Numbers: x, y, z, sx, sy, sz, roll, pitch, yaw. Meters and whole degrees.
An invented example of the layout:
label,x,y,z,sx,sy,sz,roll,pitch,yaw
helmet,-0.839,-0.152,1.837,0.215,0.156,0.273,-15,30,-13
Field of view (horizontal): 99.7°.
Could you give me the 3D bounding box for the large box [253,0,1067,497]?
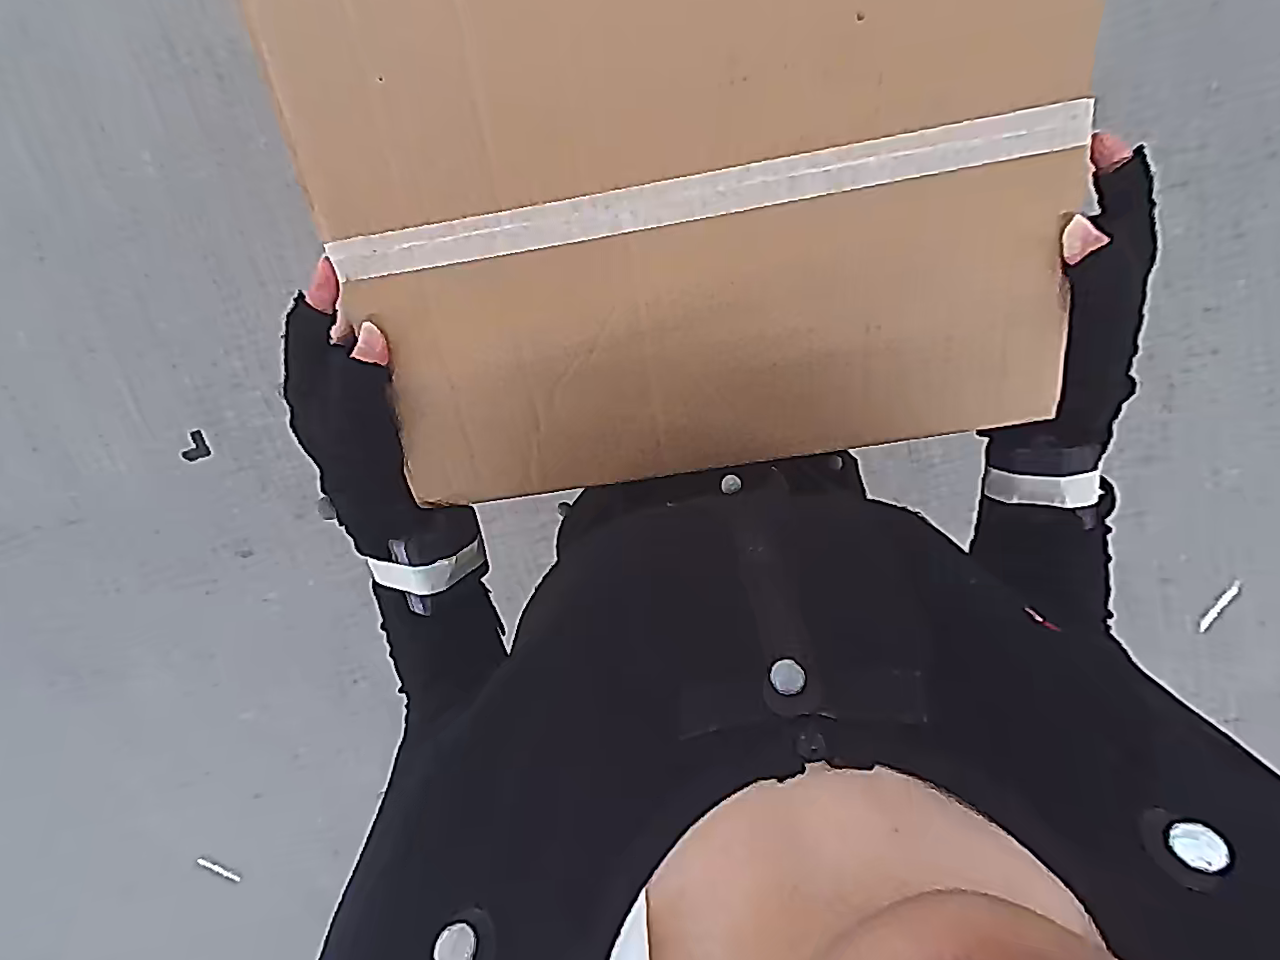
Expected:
label,x,y,z,sx,sy,sz,roll,pitch,yaw
large box,0.026,-0.214,0.439,0.408,0.320,0.320,-8,111,4
